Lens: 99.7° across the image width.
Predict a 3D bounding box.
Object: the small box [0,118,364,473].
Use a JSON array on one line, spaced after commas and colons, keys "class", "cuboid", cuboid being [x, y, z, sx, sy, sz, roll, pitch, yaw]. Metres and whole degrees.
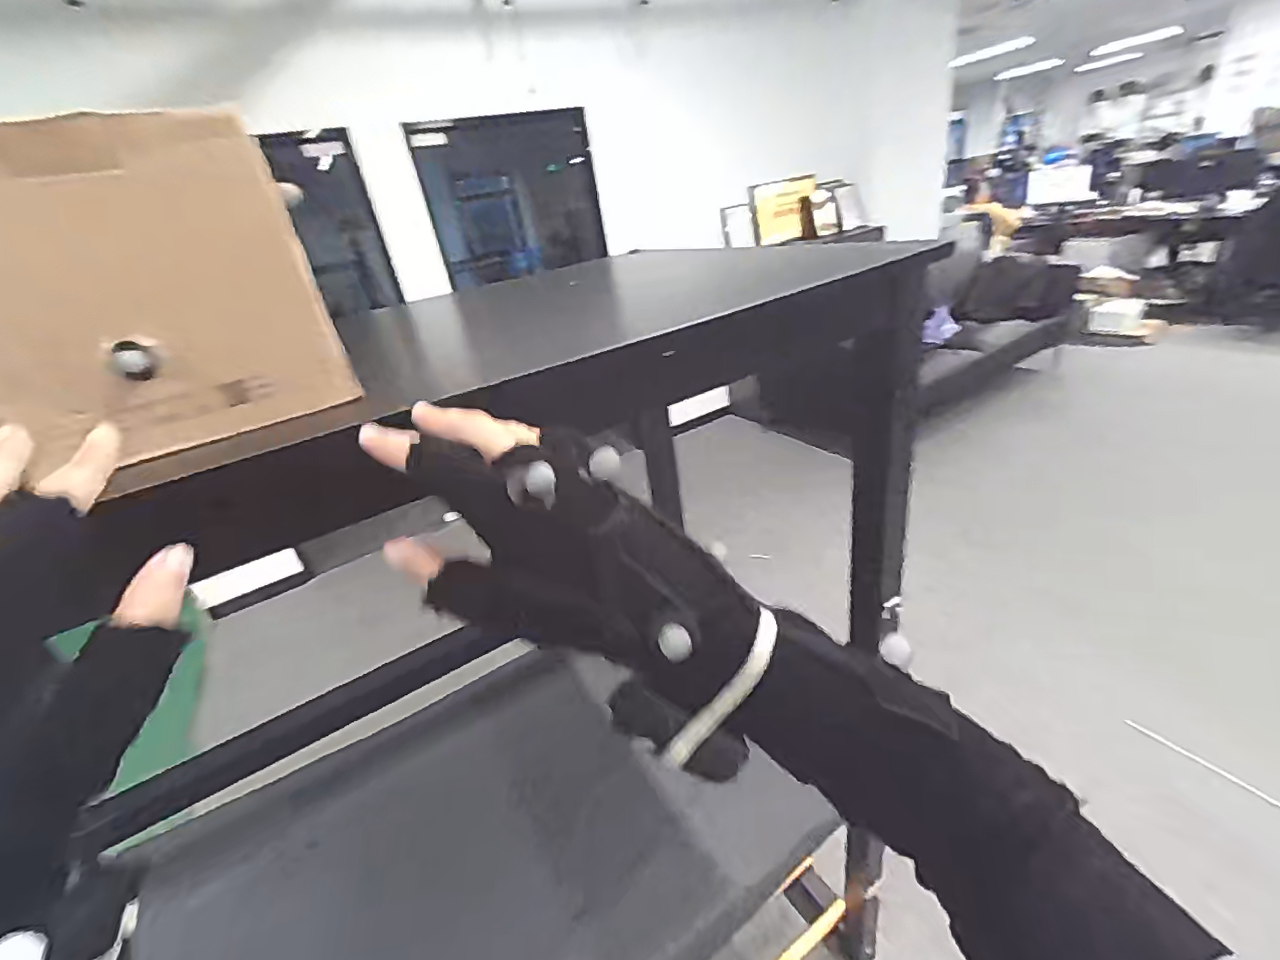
[{"class": "small box", "cuboid": [-0.308, -0.122, 0.362, 0.168, 0.176, 0.179, -24, 30, -26]}]
